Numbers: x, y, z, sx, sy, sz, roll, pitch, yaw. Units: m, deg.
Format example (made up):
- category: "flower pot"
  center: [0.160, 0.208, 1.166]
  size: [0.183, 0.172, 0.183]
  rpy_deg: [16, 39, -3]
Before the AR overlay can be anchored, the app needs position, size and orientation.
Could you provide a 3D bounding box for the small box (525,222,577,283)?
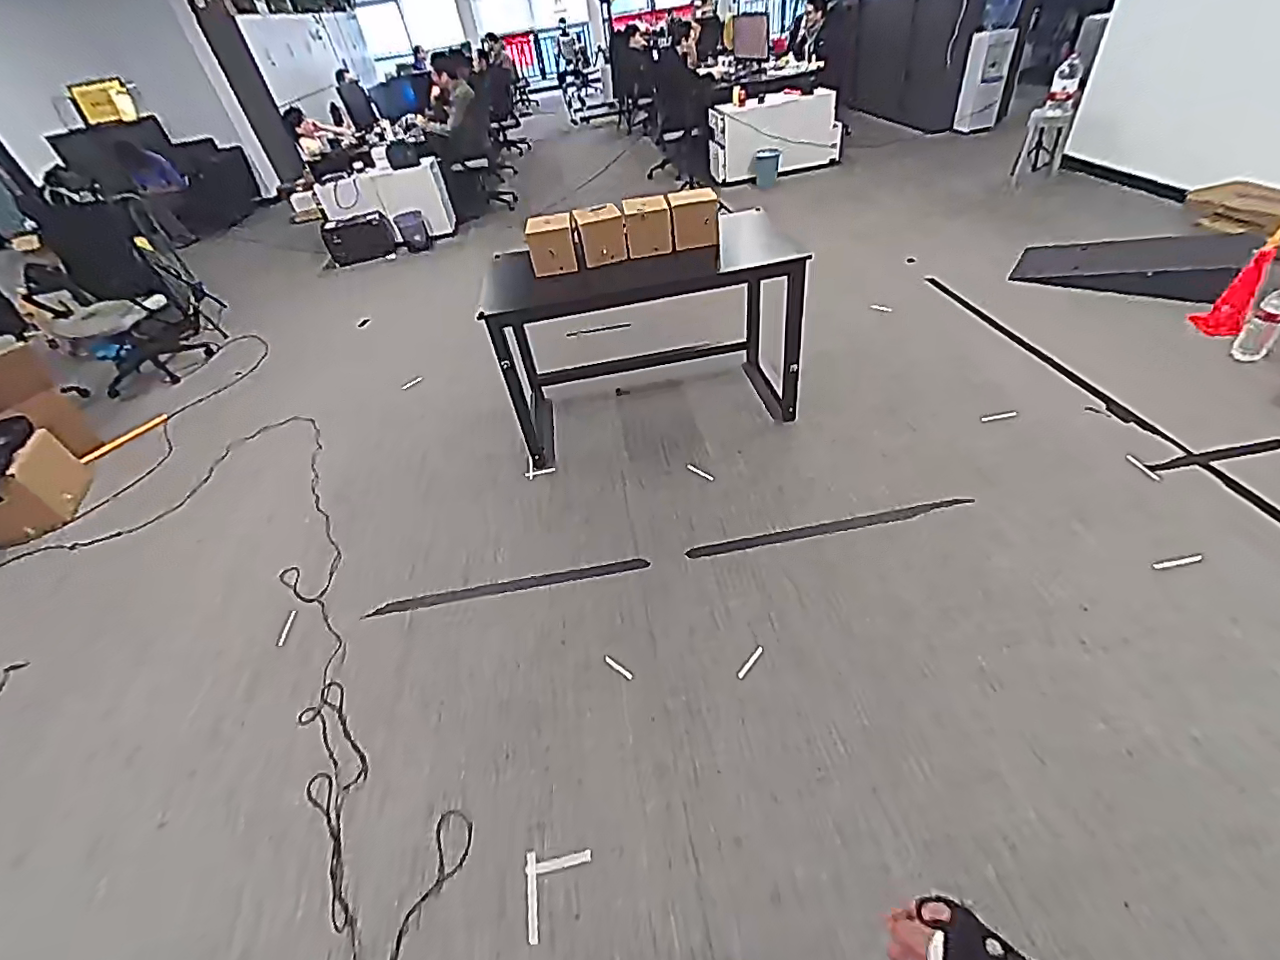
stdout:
- category: "small box"
  center: [-0.345, -0.888, 2.122]
  size: [0.168, 0.176, 0.179]
  rpy_deg: [-9, 41, 1]
